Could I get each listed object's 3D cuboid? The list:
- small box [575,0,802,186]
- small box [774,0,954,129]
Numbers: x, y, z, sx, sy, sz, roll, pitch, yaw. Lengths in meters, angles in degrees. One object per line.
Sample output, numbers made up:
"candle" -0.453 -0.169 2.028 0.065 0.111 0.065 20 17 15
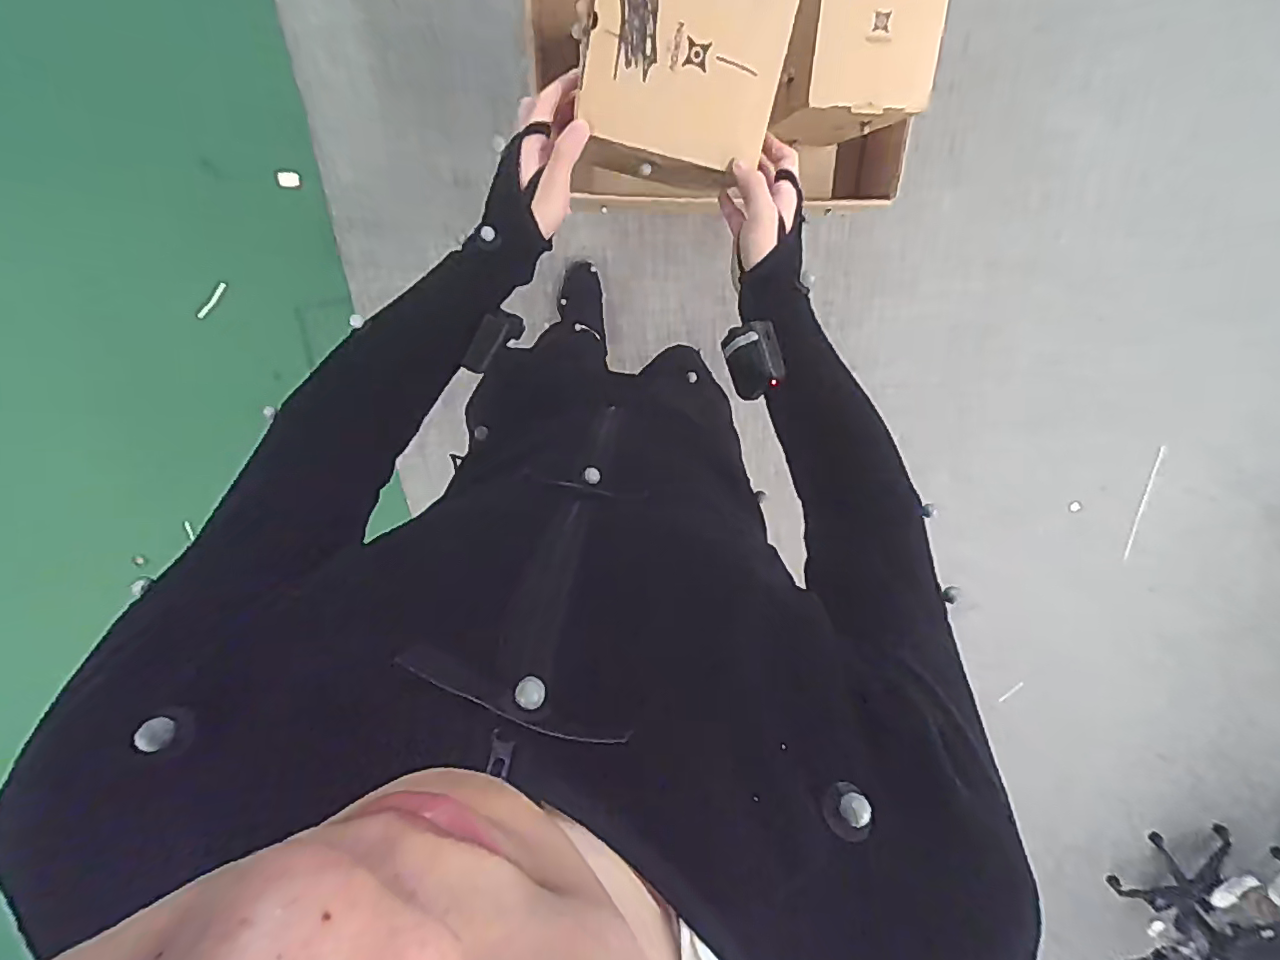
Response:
"small box" 0.033 -0.406 0.538 0.179 0.176 0.168 8 112 -13
"small box" 0.291 -0.592 0.732 0.168 0.176 0.179 -2 115 -6
